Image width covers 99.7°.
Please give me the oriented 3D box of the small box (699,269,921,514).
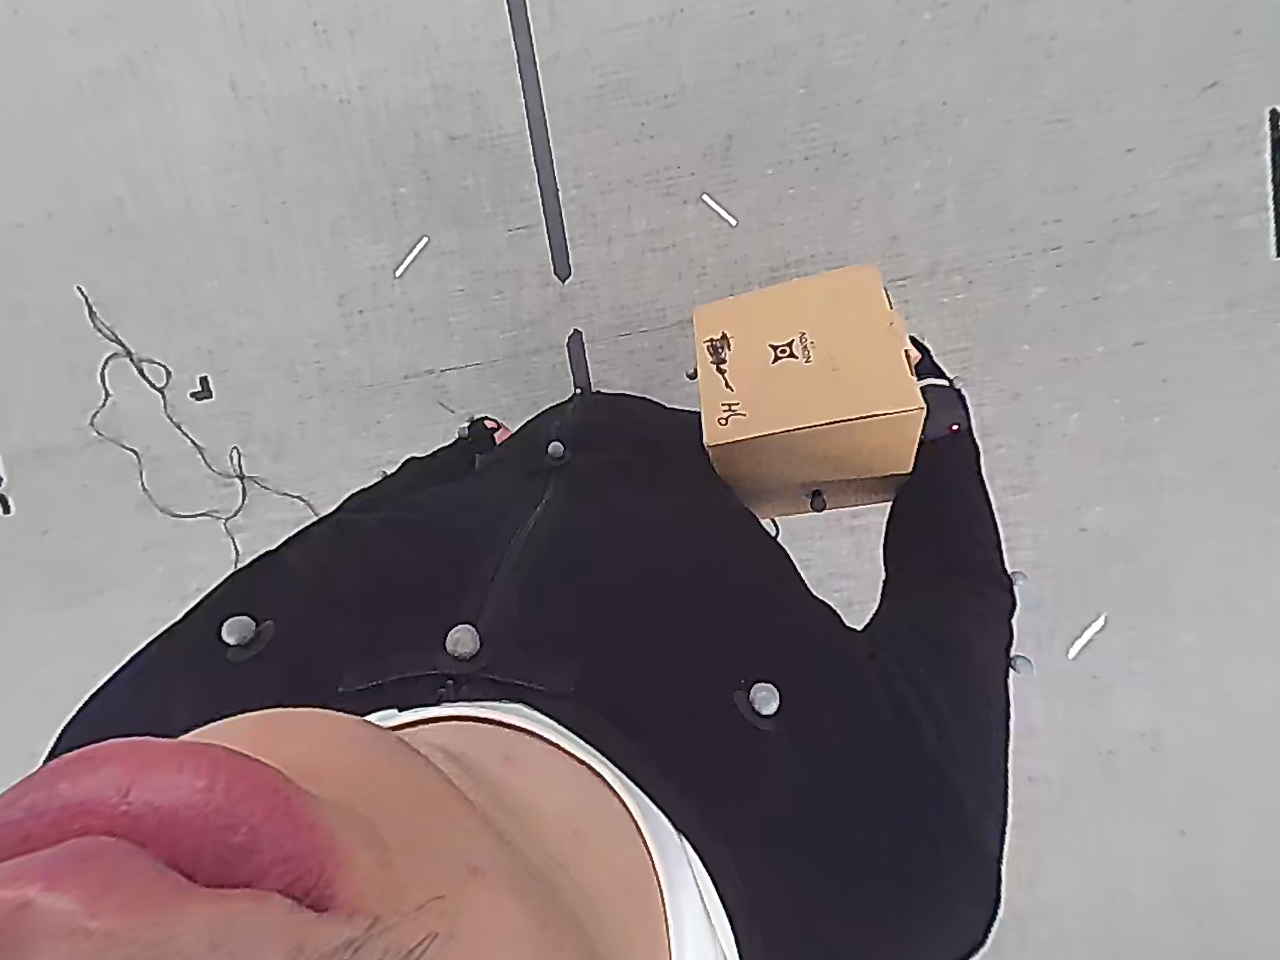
[{"bbox_3d":[0.165,-0.079,0.557,0.179,0.176,0.168,-9,59,15],"label":"small box"}]
